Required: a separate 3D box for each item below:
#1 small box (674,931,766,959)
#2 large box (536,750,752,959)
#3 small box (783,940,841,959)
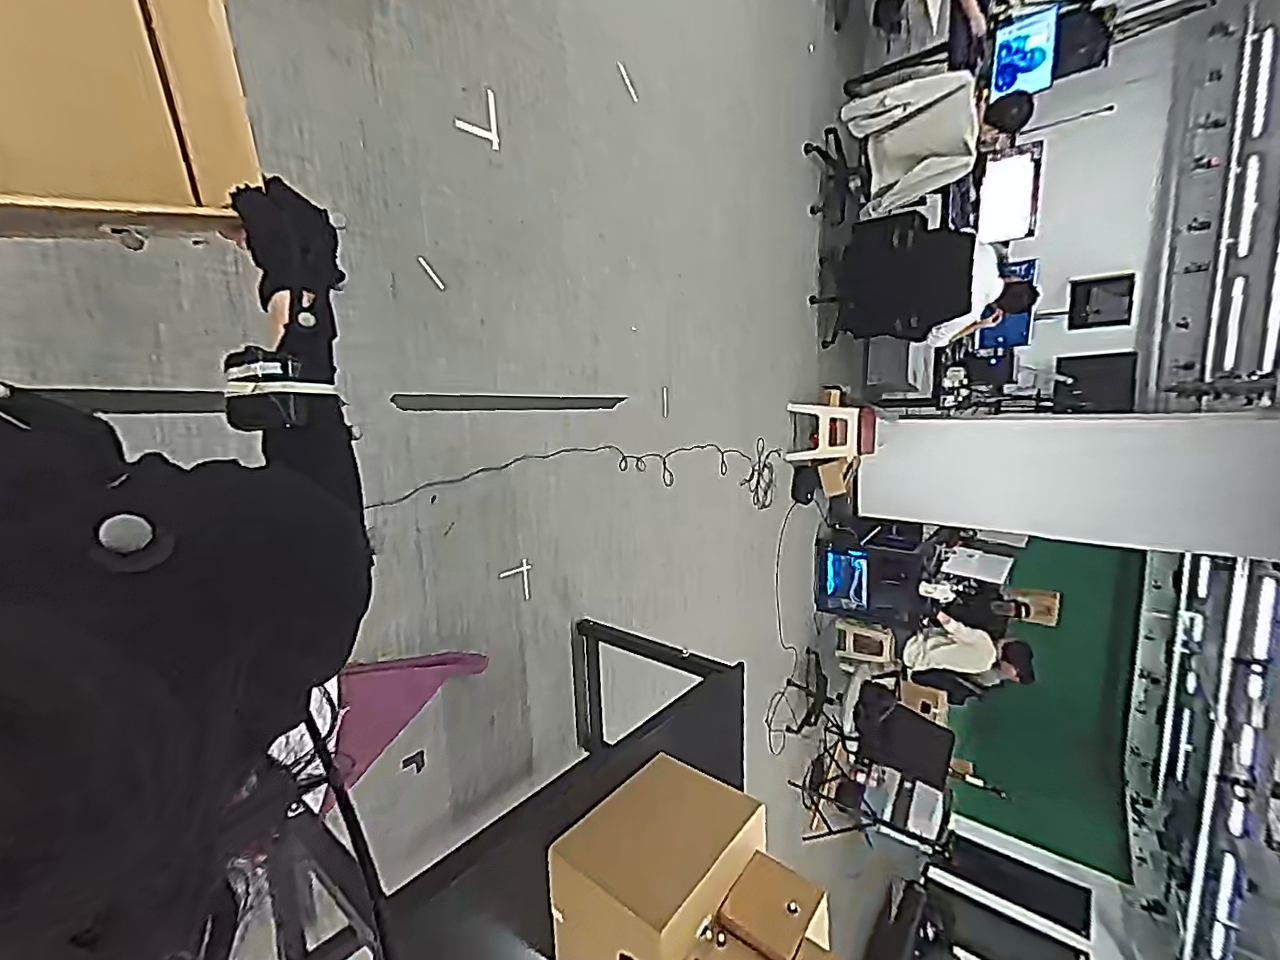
[{"bbox_3d":[0.143,0.994,1.002,0.168,0.176,0.179,6,91,-52],"label":"small box"},{"bbox_3d":[0.022,0.910,1.233,0.408,0.320,0.320,-13,104,-49],"label":"large box"},{"bbox_3d":[0.326,0.985,0.969,0.168,0.176,0.179,-30,116,-46],"label":"small box"}]
